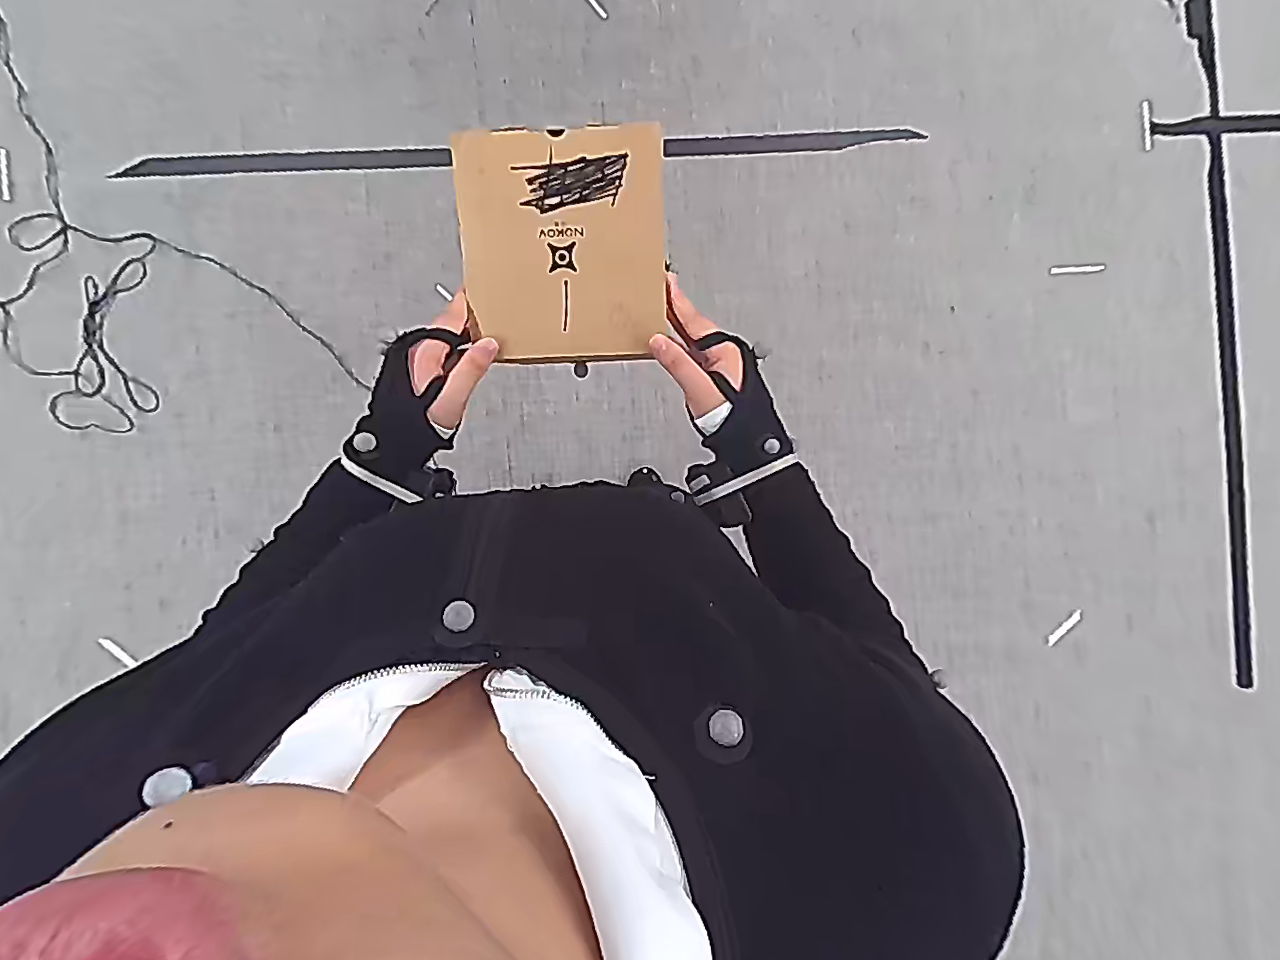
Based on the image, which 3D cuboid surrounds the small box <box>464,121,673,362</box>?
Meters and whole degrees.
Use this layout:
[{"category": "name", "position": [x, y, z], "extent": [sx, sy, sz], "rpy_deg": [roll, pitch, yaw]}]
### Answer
[{"category": "small box", "position": [-0.054, -0.207, 0.514], "extent": [0.168, 0.176, 0.179], "rpy_deg": [-1, 101, 2]}]
